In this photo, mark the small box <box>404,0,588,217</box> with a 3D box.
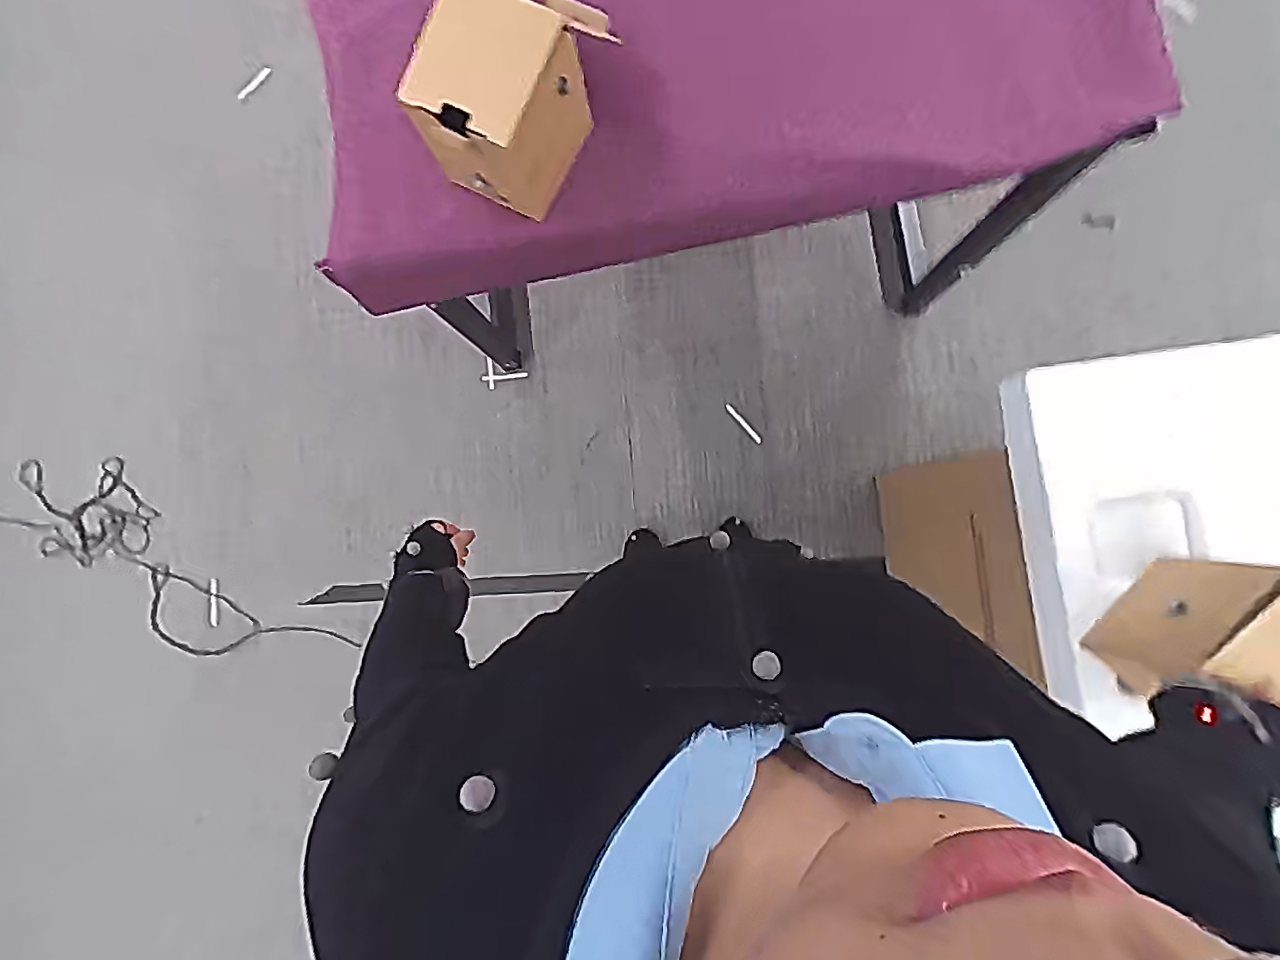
[{"bbox_3d":[-0.186,-0.518,0.762,0.168,0.176,0.179,28,88,7],"label":"small box"}]
